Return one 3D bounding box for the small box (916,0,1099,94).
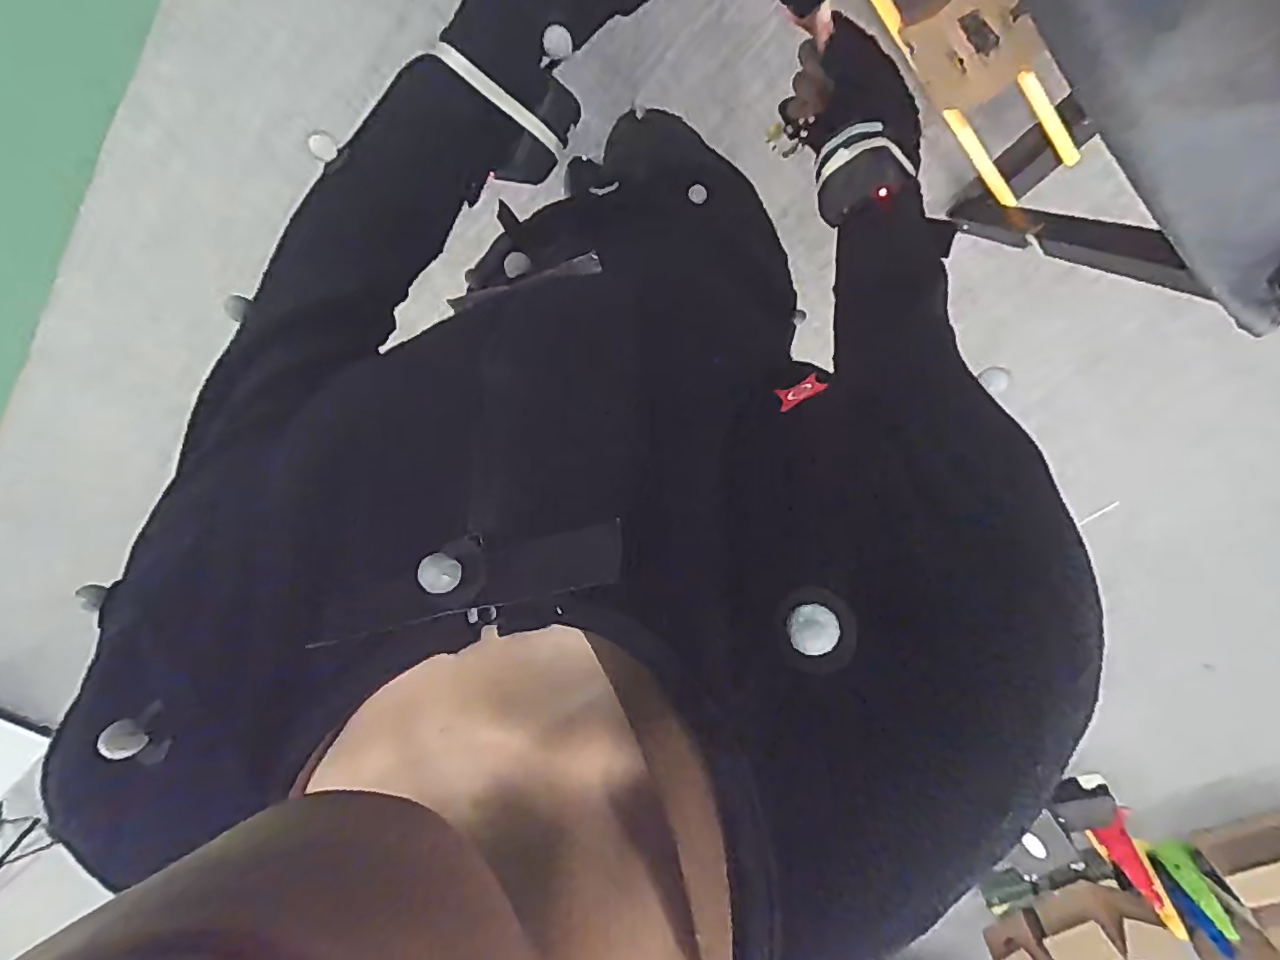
[{"bbox_3d":[0.590,-0.779,0.895,0.179,0.176,0.168,-38,114,22],"label":"small box"}]
